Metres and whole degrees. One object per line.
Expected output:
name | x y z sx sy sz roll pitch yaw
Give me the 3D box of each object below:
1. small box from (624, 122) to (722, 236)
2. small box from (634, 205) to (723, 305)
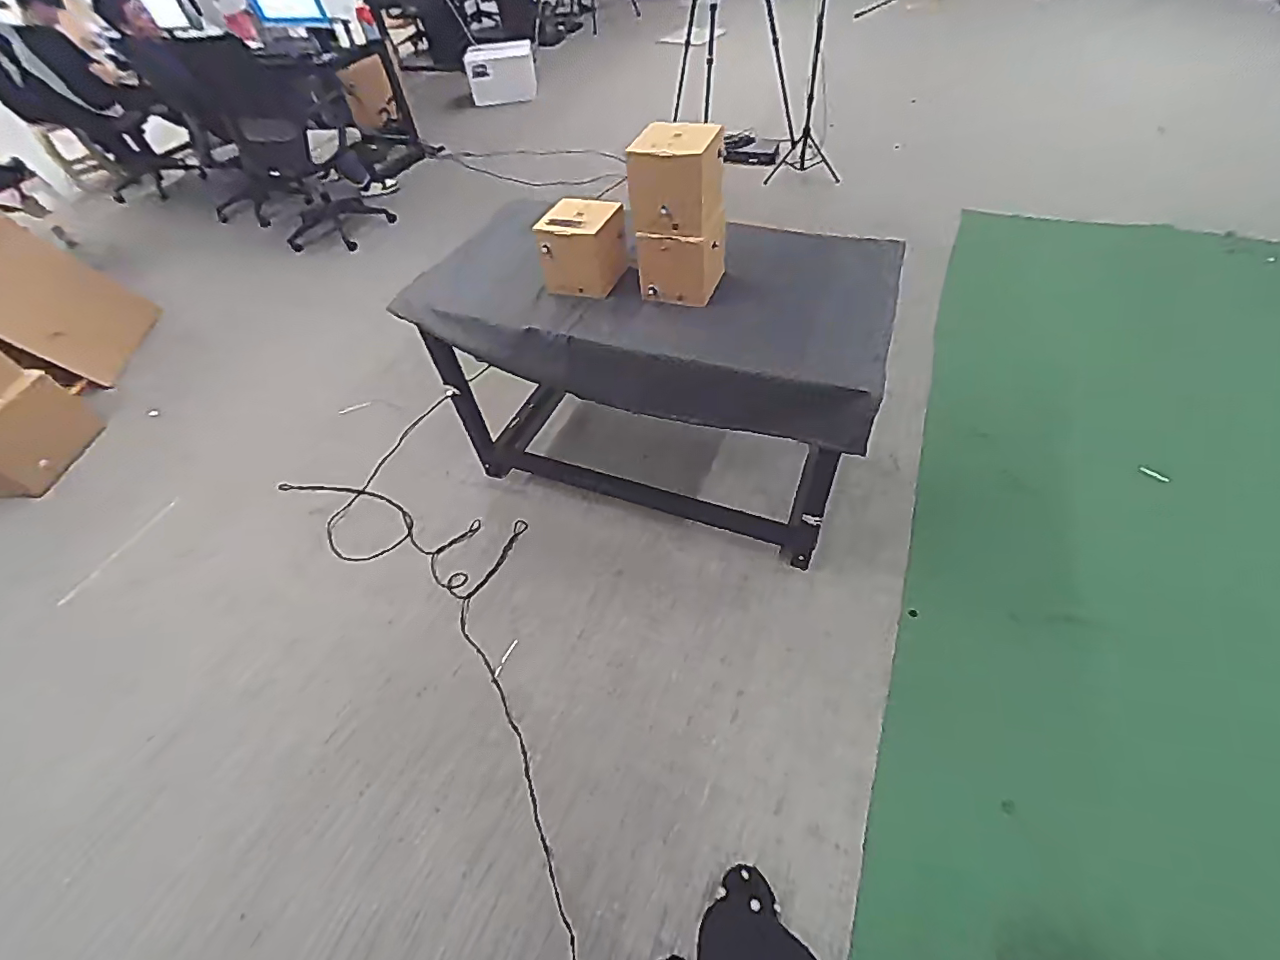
small box | 0.078 -0.664 1.193 0.168 0.176 0.179 12 54 17
small box | 0.099 -0.546 1.306 0.168 0.176 0.179 14 53 17
